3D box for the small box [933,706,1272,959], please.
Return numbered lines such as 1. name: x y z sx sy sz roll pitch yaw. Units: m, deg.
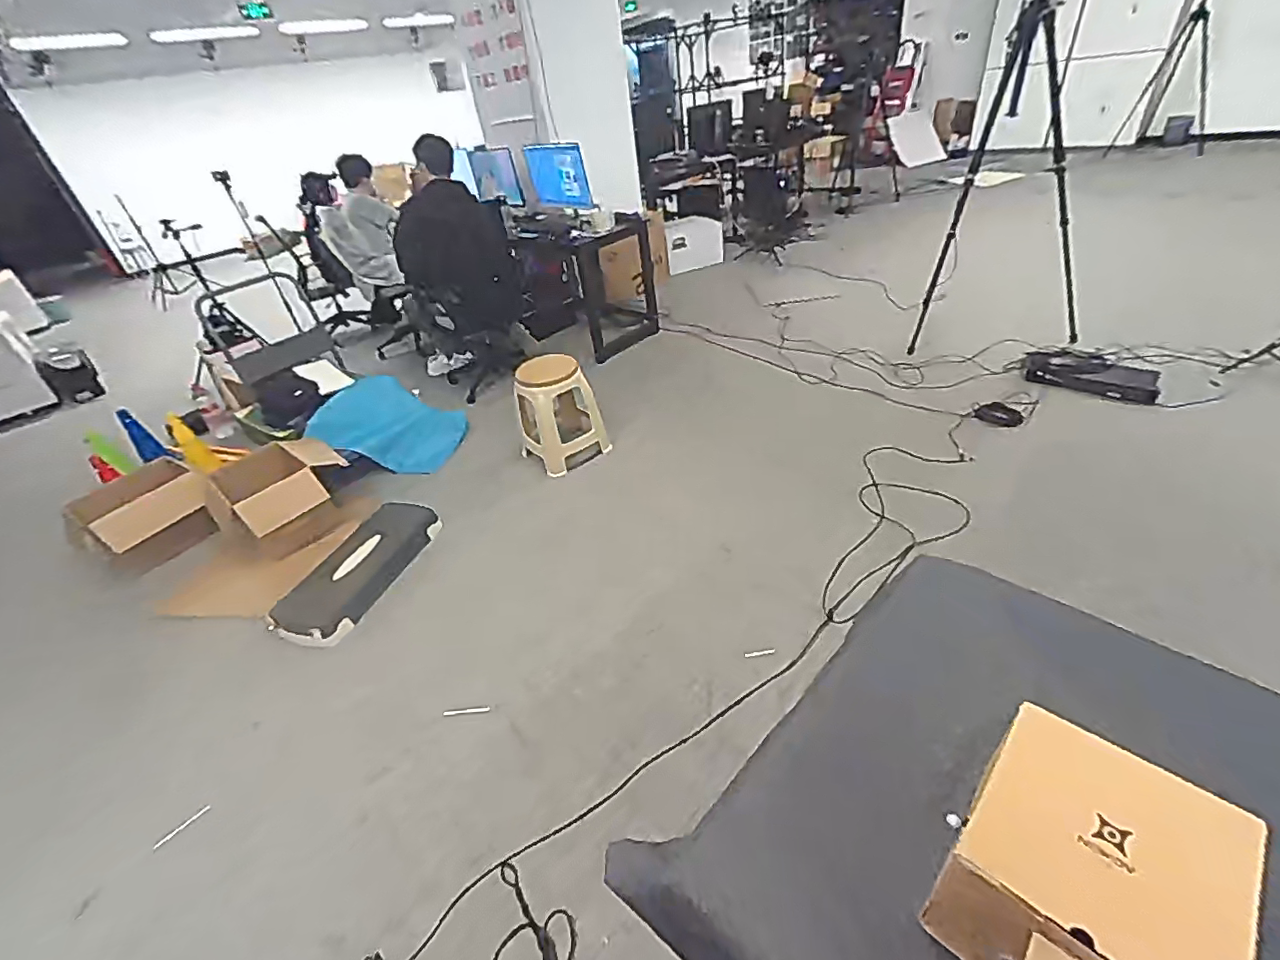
1. small box: 0.378 0.347 0.466 0.168 0.176 0.179 25 48 38
